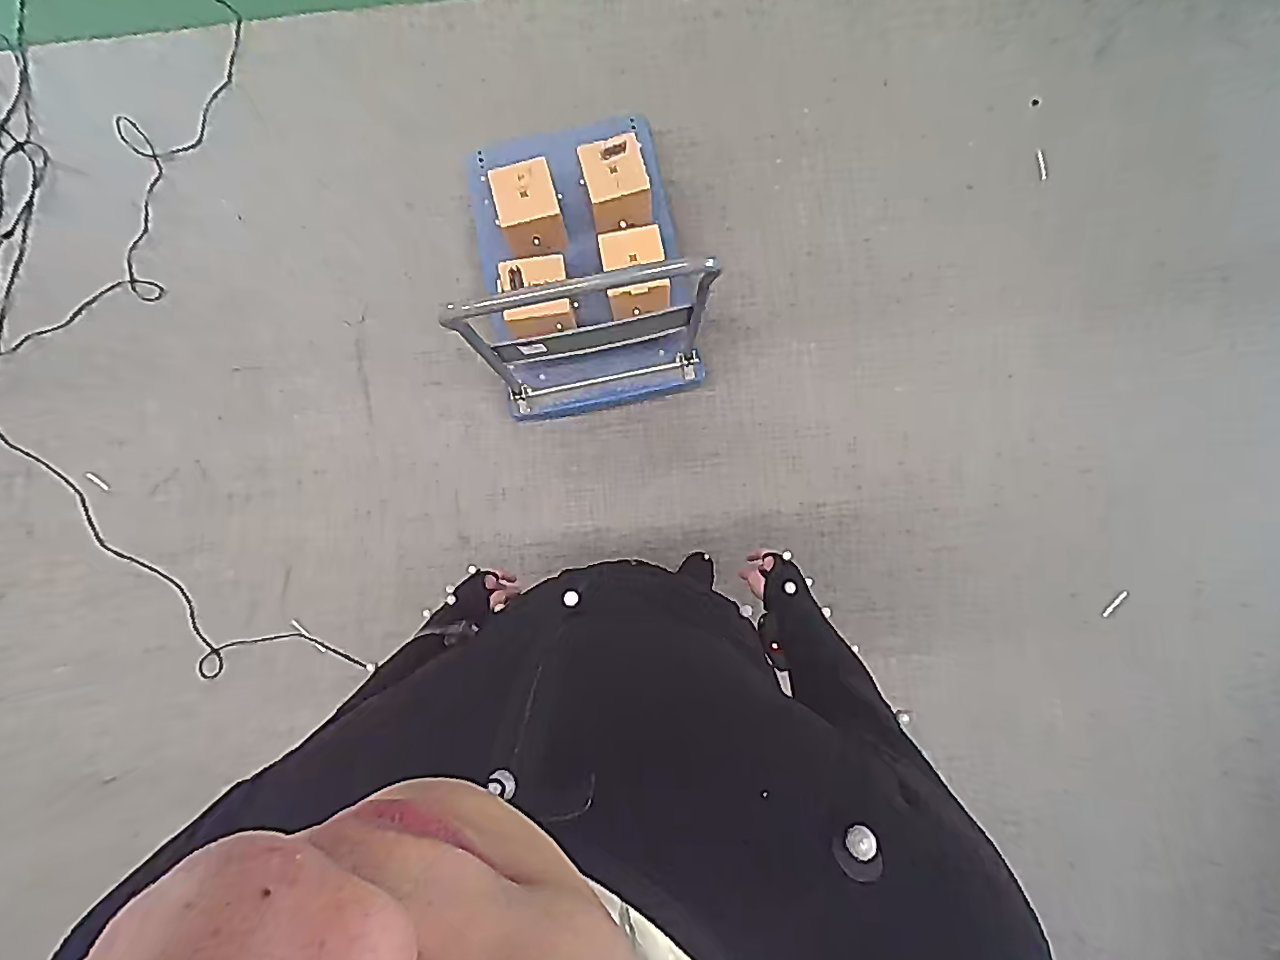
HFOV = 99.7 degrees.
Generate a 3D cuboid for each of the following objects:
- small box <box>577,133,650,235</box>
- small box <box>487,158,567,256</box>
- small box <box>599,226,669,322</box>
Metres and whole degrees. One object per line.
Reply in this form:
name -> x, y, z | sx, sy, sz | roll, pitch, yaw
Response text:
small box -> -0.070, -0.827, 1.529 | 0.168, 0.176, 0.179 | -15, 84, 1
small box -> -0.313, -0.759, 1.528 | 0.168, 0.176, 0.179 | -15, 83, -1
small box -> -0.016, -0.564, 1.496 | 0.168, 0.176, 0.179 | -11, 83, 0
